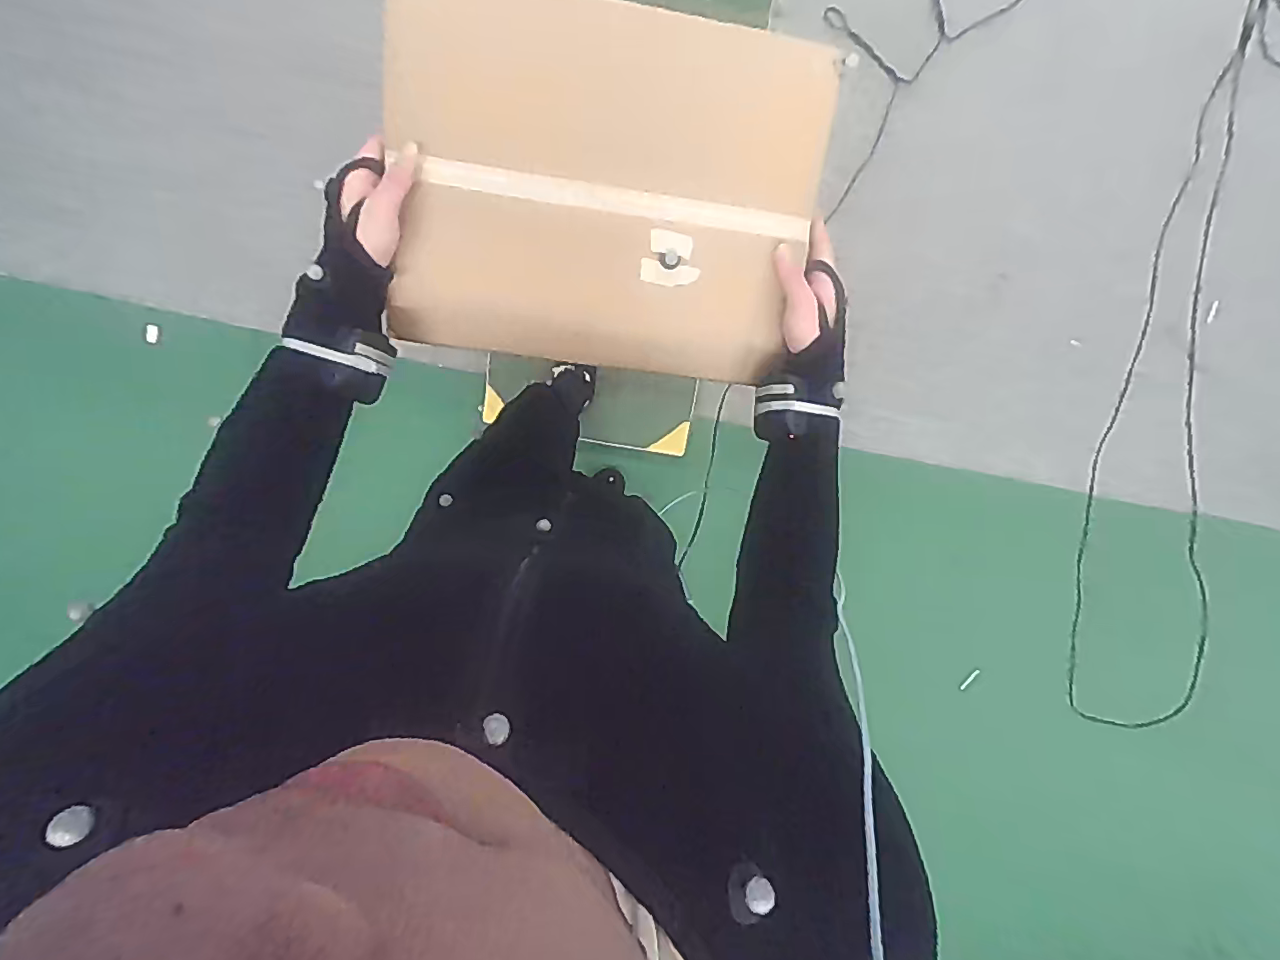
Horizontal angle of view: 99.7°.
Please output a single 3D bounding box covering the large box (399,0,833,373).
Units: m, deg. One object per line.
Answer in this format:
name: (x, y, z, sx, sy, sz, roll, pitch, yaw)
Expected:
large box: (-0.044, -0.319, 0.669, 0.408, 0.320, 0.320, 6, 106, -8)
